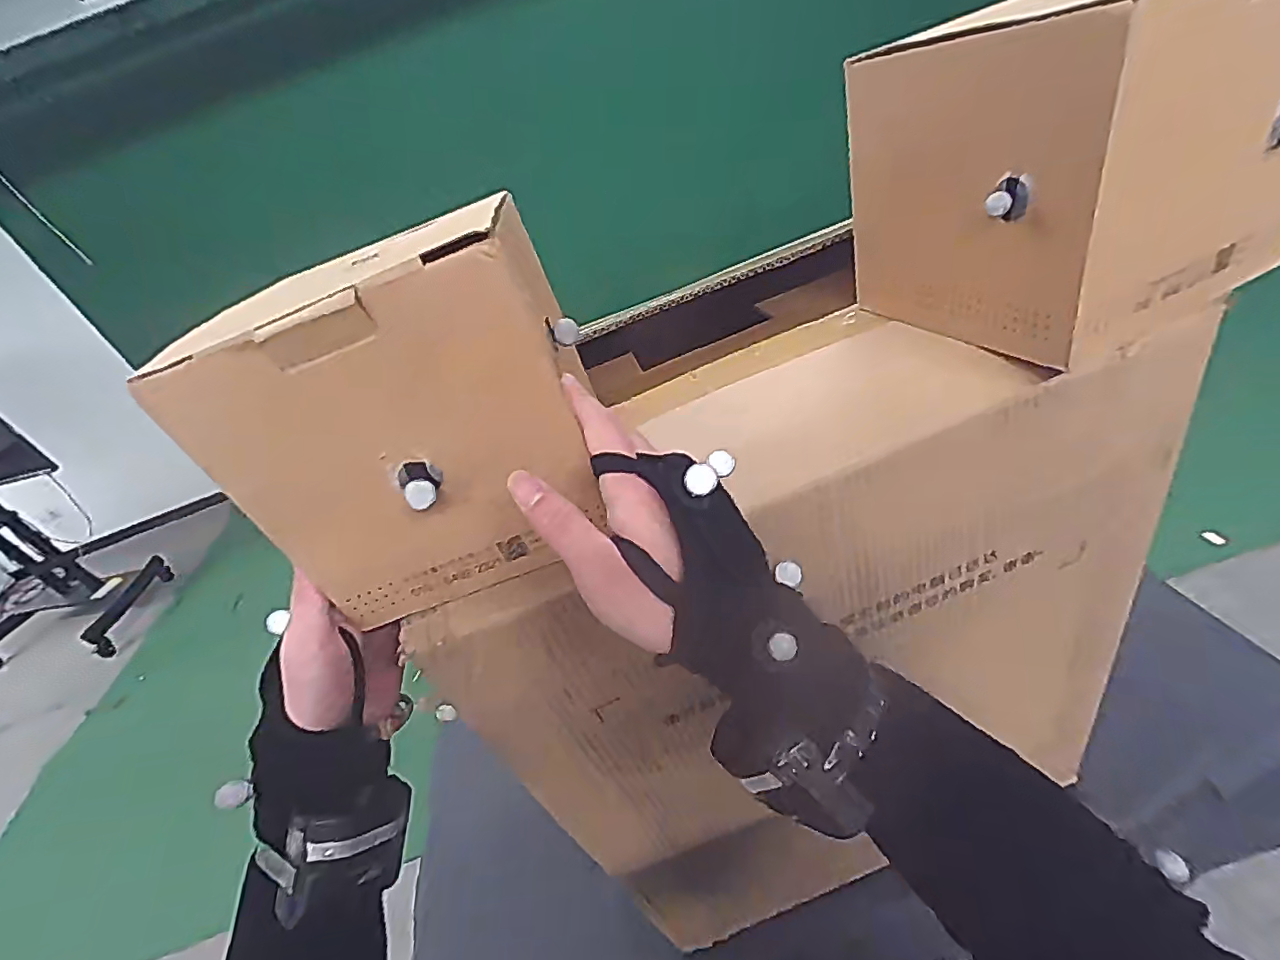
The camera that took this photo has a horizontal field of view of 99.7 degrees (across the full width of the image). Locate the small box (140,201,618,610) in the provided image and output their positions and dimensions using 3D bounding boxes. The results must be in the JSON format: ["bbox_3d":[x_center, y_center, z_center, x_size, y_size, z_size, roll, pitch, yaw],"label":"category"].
[{"bbox_3d":[-0.122,-0.044,0.334,0.168,0.176,0.179,-20,35,2],"label":"small box"}]

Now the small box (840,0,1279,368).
[{"bbox_3d":[0.254,-0.189,0.342,0.168,0.176,0.179,-25,34,-10],"label":"small box"}]
